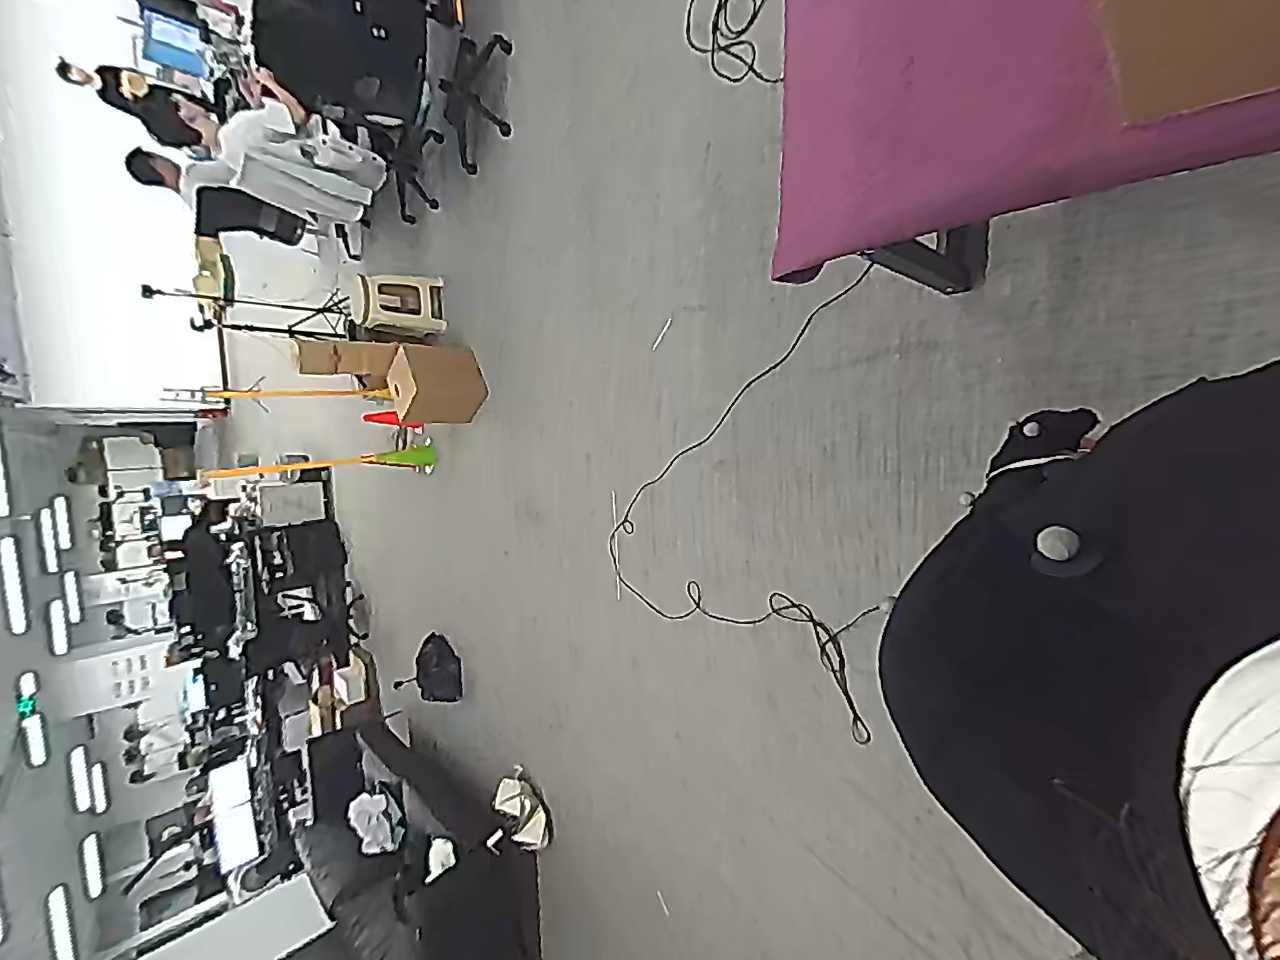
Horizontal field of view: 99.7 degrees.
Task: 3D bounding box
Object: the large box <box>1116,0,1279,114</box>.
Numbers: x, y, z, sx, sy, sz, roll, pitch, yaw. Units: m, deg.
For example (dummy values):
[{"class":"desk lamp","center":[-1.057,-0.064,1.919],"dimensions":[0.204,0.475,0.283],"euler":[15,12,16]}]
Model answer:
[{"class":"large box","center":[0.526,-0.549,0.336],"dimensions":[0.320,0.320,0.408],"euler":[9,102,45]}]
